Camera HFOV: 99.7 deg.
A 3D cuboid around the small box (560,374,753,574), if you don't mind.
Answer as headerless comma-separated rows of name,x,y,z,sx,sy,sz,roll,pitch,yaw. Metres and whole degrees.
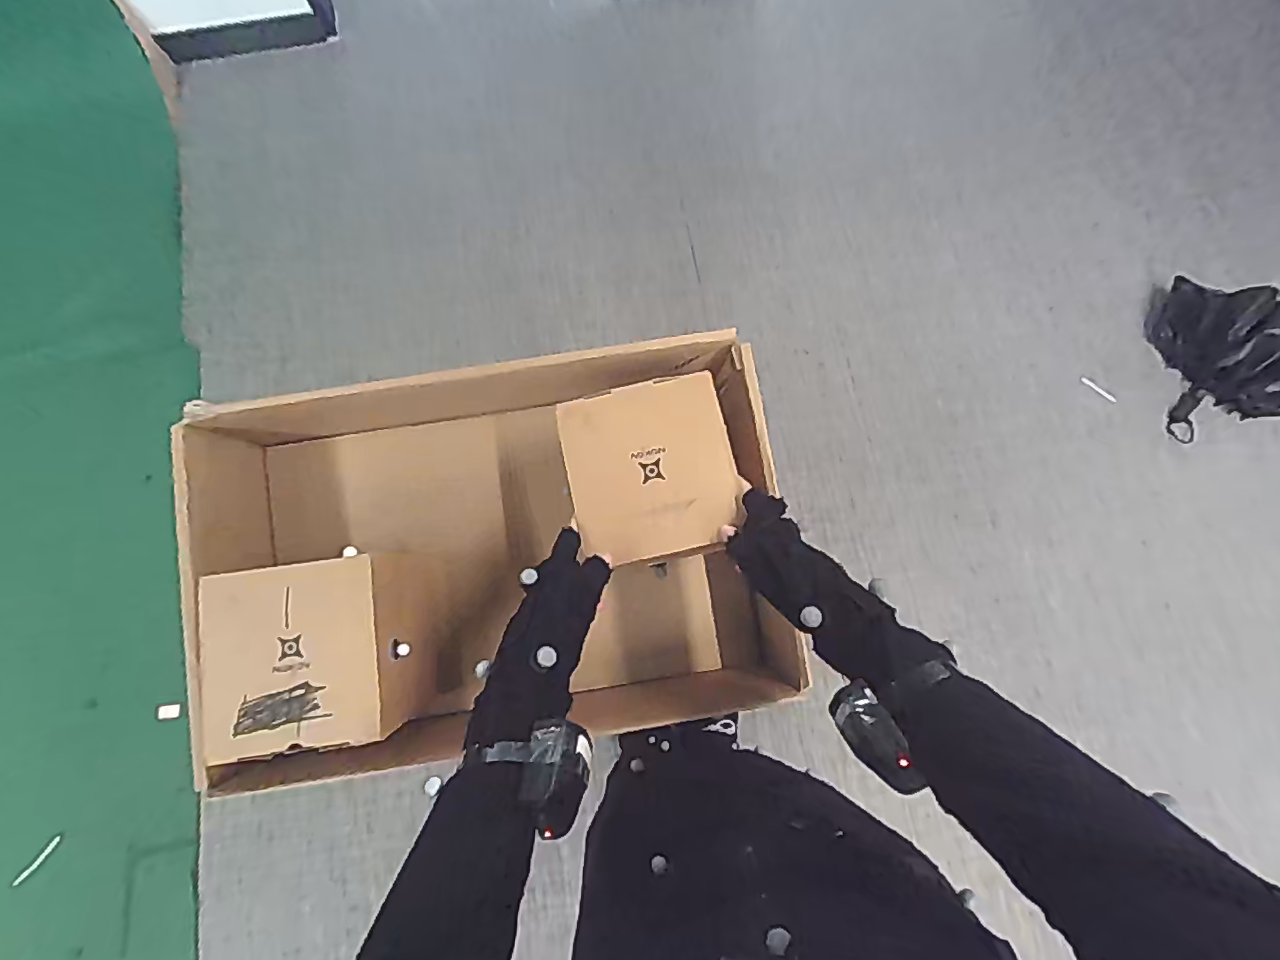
small box,0.015,0.004,0.618,0.168,0.176,0.179,-13,79,0
